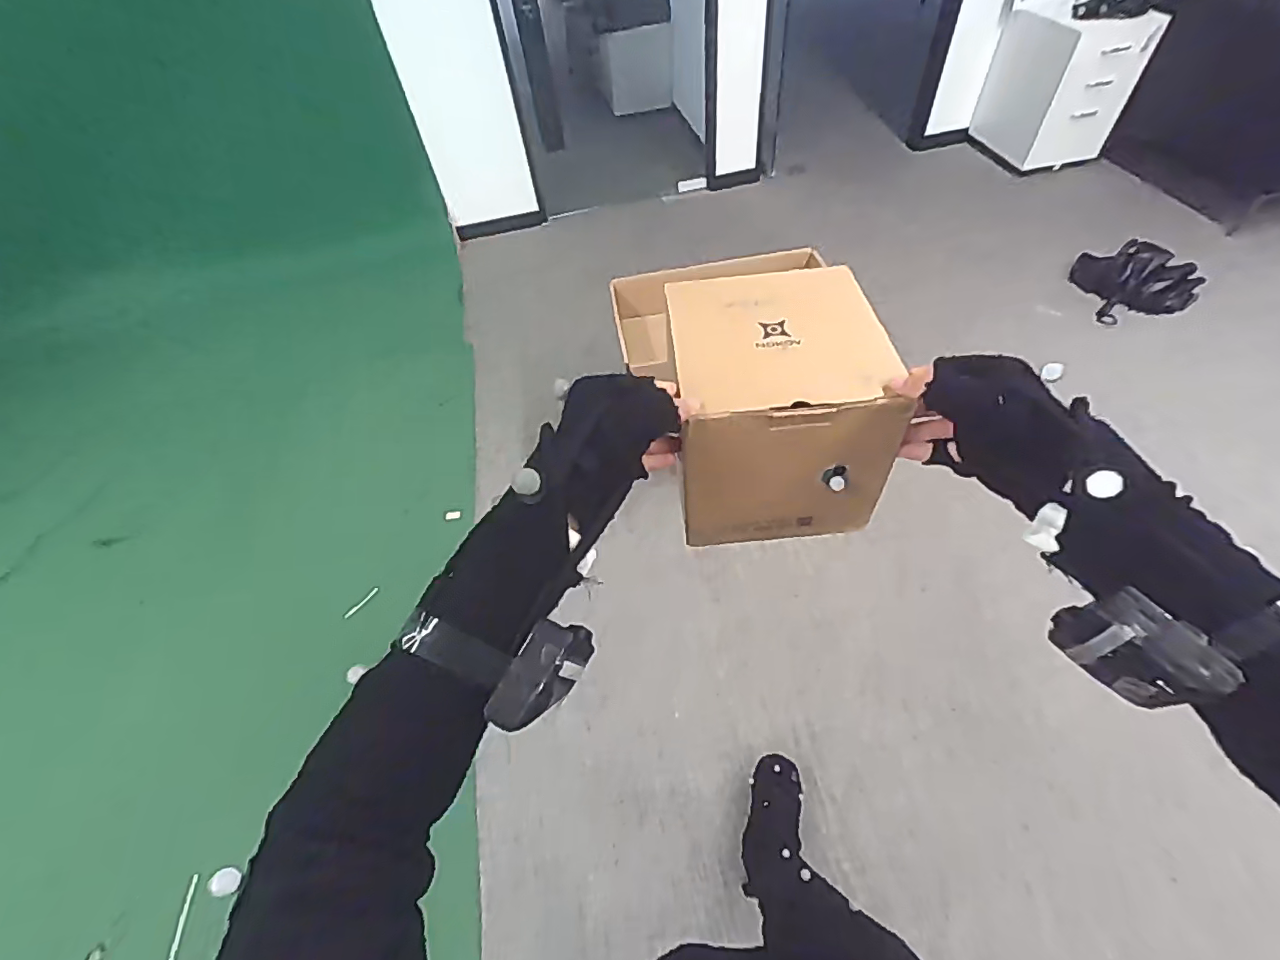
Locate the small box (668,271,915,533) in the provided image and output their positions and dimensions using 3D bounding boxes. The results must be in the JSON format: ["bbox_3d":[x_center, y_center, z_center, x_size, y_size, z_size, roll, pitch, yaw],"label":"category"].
[{"bbox_3d":[0.118,-0.064,0.497,0.168,0.176,0.179,-5,49,1],"label":"small box"}]
